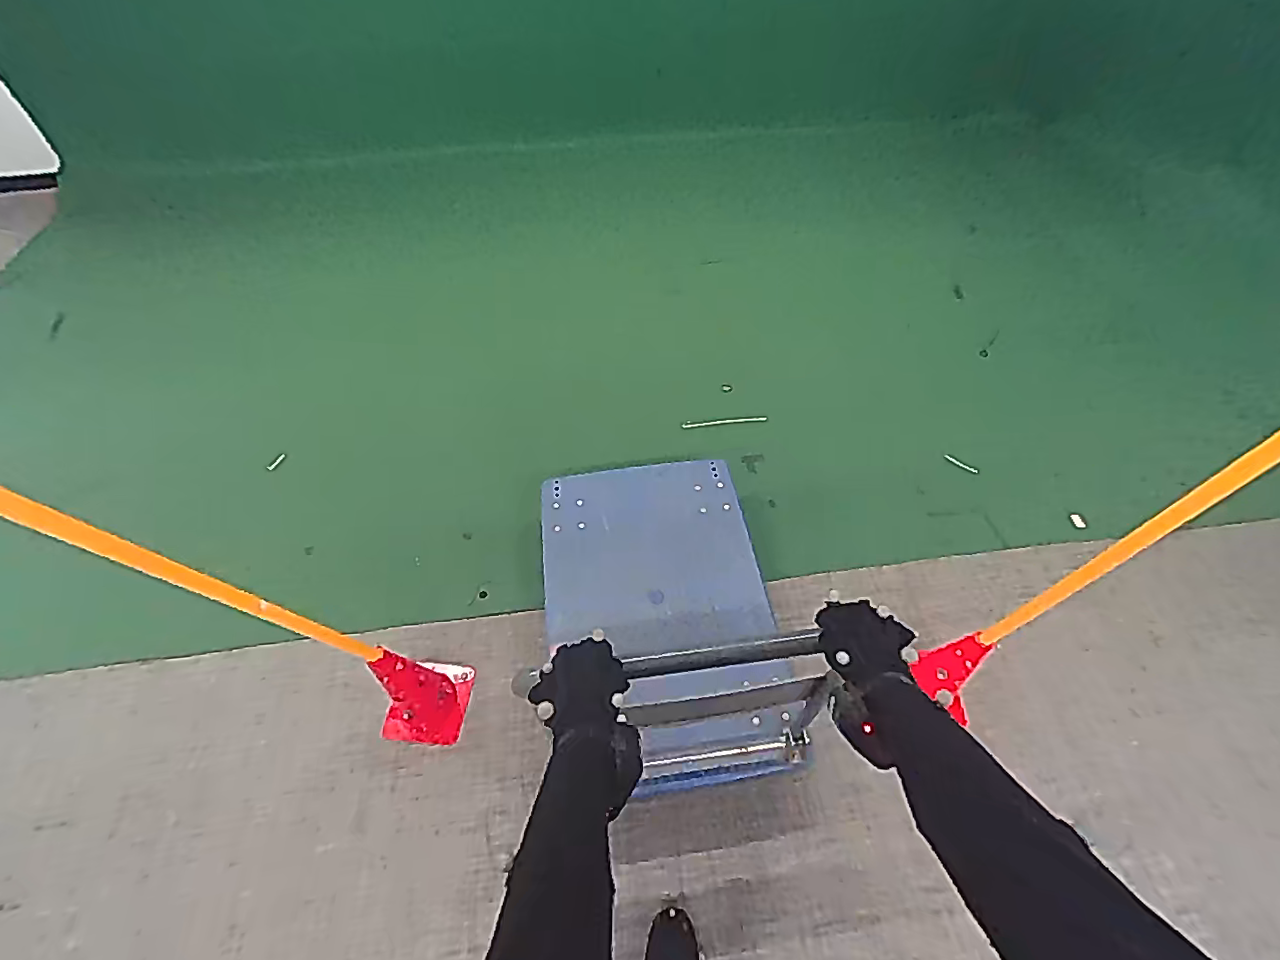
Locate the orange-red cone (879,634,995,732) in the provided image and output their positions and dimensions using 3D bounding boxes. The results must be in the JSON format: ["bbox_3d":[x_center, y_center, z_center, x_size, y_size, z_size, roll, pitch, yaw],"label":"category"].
[{"bbox_3d":[0.734,0.448,1.277,0.198,0.360,0.199,2,54,4],"label":"orange-red cone"}]
